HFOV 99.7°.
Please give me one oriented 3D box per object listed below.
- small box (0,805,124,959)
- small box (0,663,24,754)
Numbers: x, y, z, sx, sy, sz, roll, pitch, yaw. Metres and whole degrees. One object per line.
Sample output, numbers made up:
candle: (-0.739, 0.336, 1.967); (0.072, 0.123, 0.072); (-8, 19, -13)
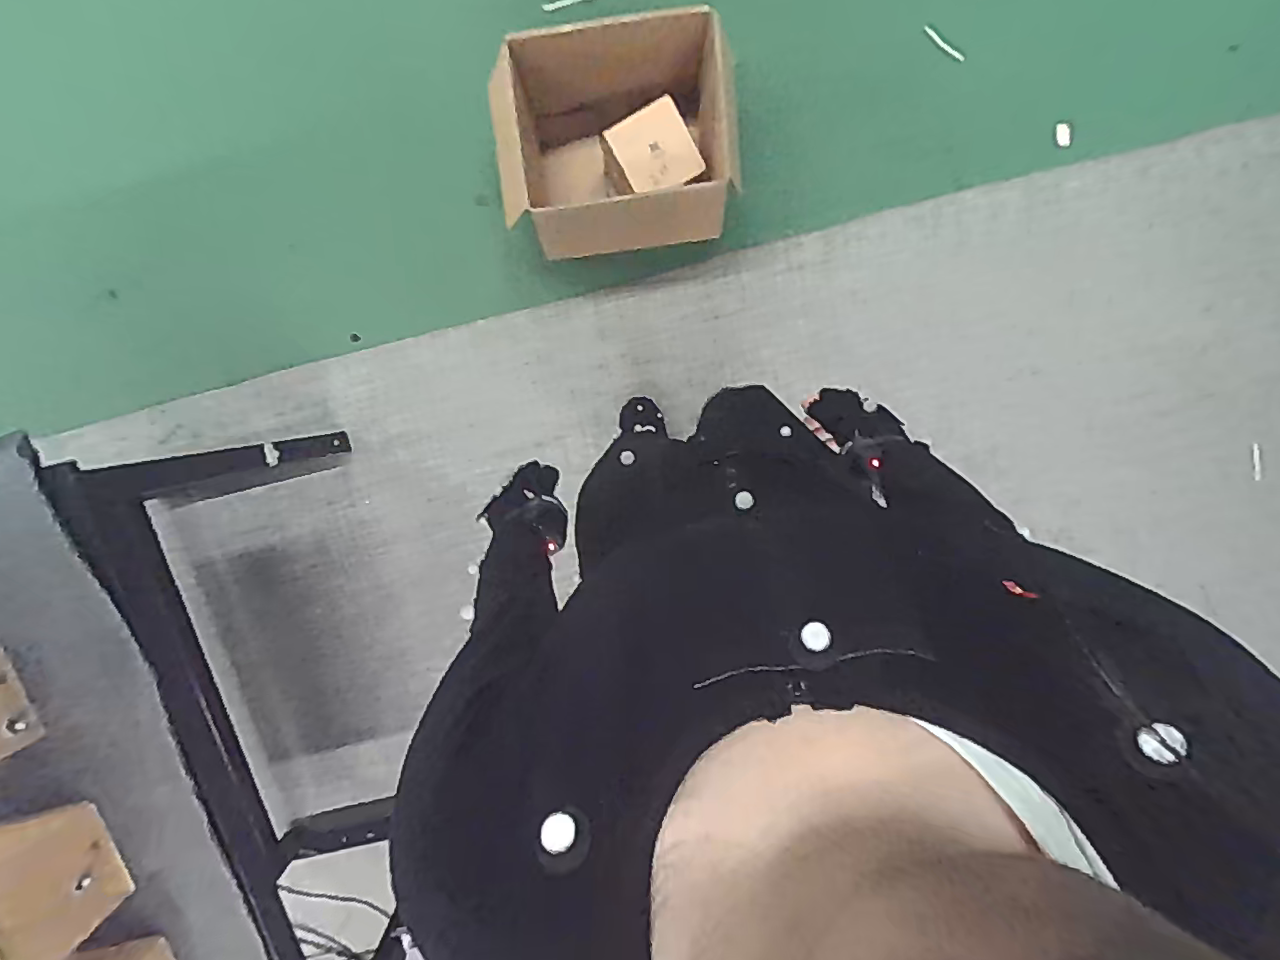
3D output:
small box: (-0.899, 0.597, 0.754); (0.179, 0.176, 0.168); (-15, 99, 2)
small box: (-0.987, 0.332, 0.707); (0.179, 0.176, 0.168); (-15, 99, 3)
